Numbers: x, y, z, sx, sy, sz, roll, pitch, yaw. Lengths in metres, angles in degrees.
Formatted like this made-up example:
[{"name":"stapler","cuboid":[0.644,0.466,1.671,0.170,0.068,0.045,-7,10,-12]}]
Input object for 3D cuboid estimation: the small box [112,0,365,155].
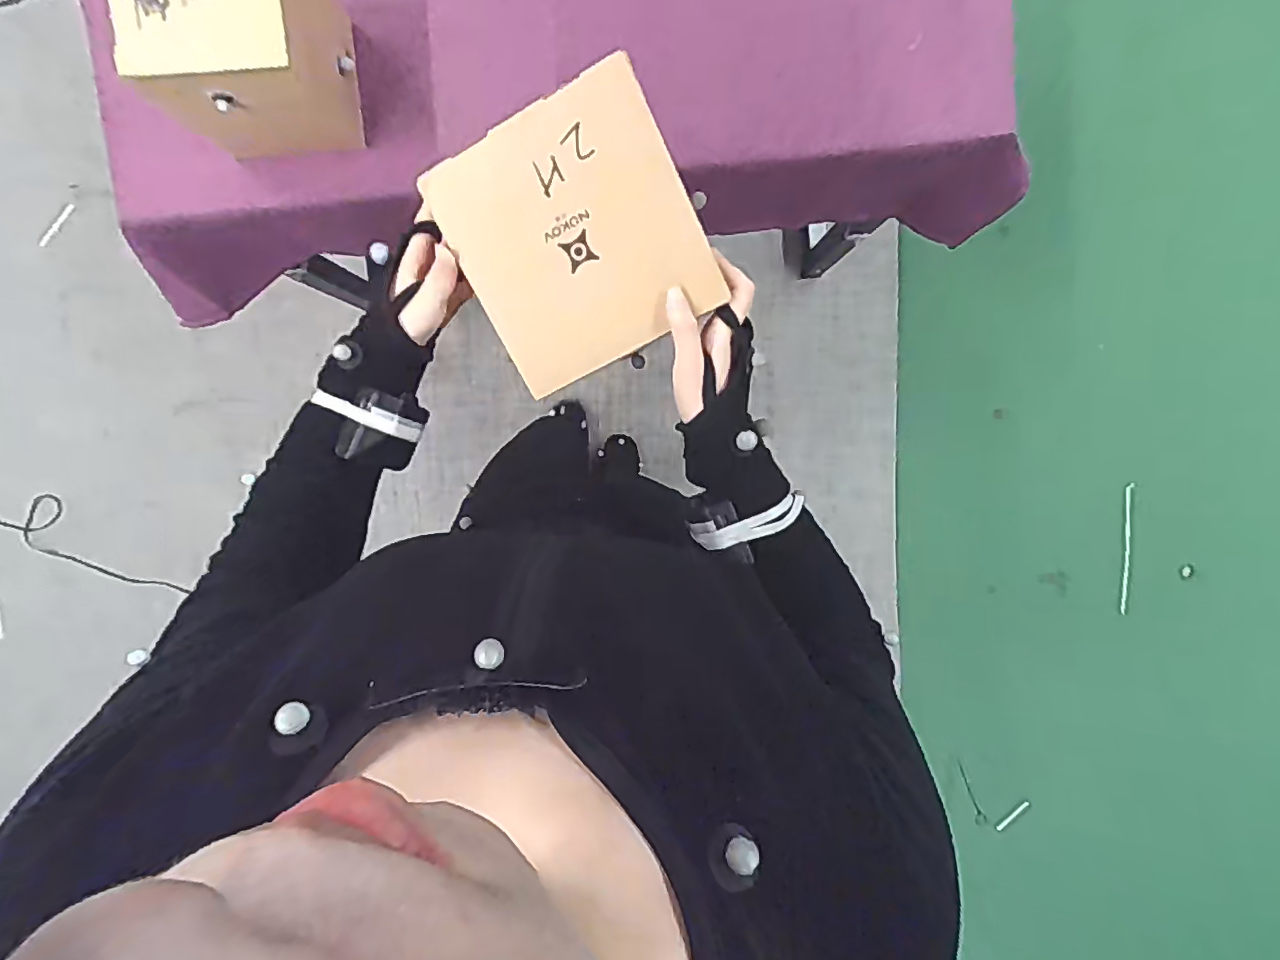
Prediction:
[{"name":"small box","cuboid":[-0.454,-0.506,0.631,0.179,0.176,0.168,-4,95,-1]}]
